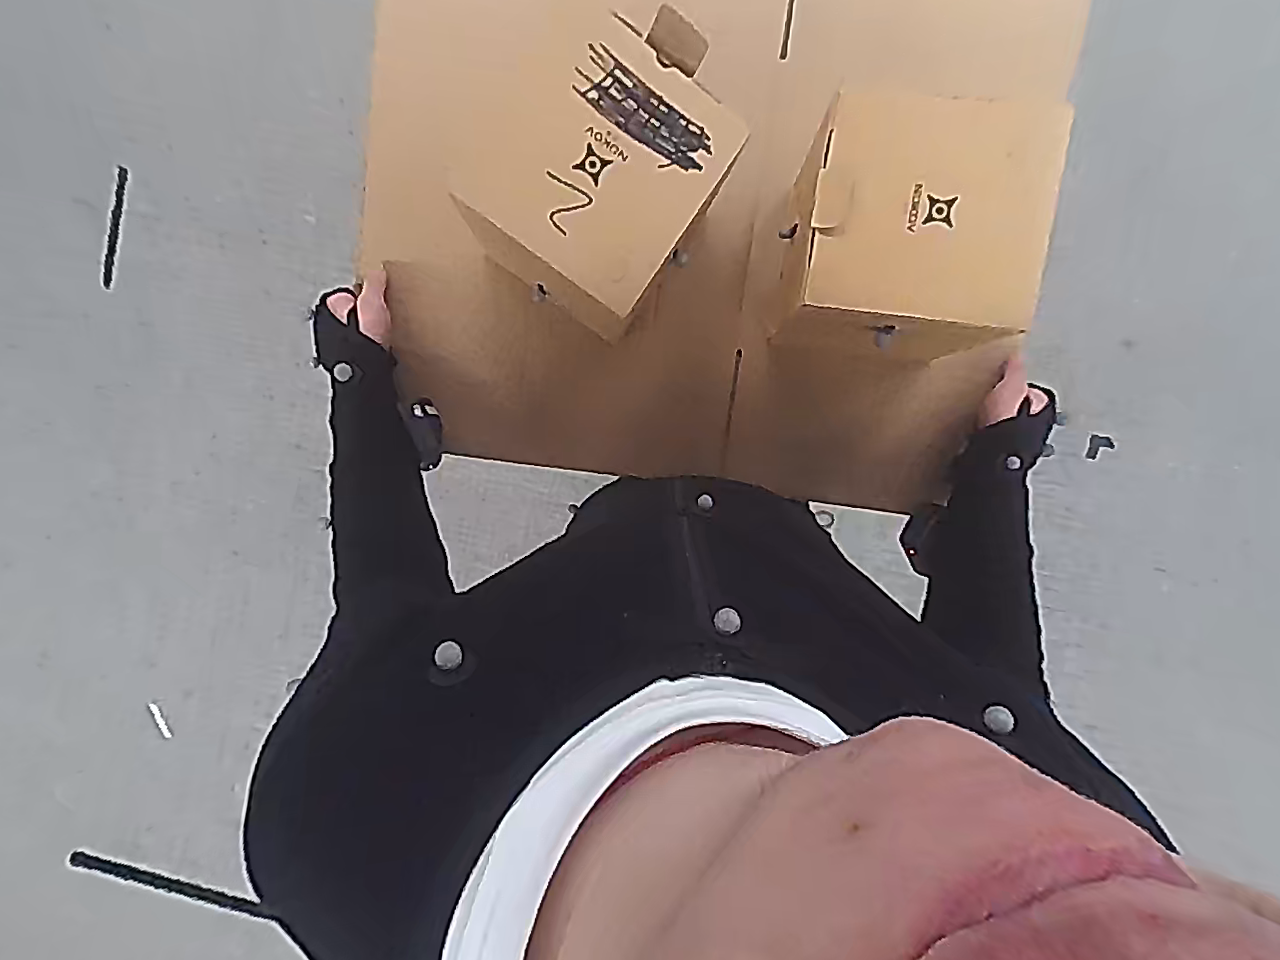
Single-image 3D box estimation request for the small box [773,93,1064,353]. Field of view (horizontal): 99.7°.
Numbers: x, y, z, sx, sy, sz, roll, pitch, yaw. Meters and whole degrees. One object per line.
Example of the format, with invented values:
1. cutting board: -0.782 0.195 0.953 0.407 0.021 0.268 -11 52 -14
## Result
1. small box: 0.236 -0.219 0.506 0.179 0.176 0.168 8 96 4
